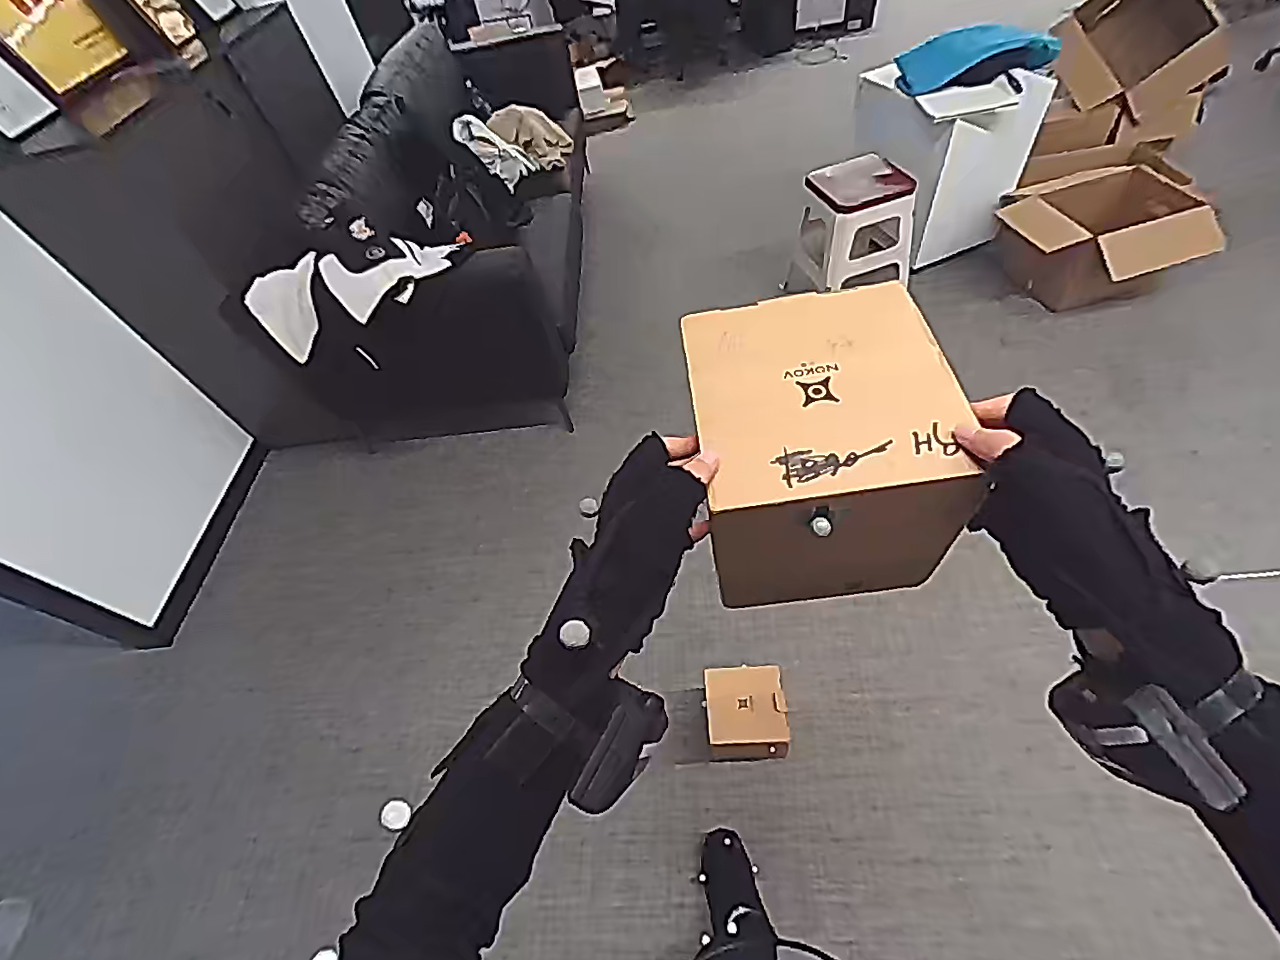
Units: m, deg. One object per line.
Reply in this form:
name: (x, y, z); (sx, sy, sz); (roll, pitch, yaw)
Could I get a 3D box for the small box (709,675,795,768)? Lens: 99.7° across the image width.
small box: (0.260, 0.572, 1.272); (0.179, 0.176, 0.168); (-6, 52, 7)

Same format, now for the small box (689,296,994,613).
small box: (0.134, -0.014, 0.432); (0.168, 0.176, 0.179); (-9, 54, 6)
